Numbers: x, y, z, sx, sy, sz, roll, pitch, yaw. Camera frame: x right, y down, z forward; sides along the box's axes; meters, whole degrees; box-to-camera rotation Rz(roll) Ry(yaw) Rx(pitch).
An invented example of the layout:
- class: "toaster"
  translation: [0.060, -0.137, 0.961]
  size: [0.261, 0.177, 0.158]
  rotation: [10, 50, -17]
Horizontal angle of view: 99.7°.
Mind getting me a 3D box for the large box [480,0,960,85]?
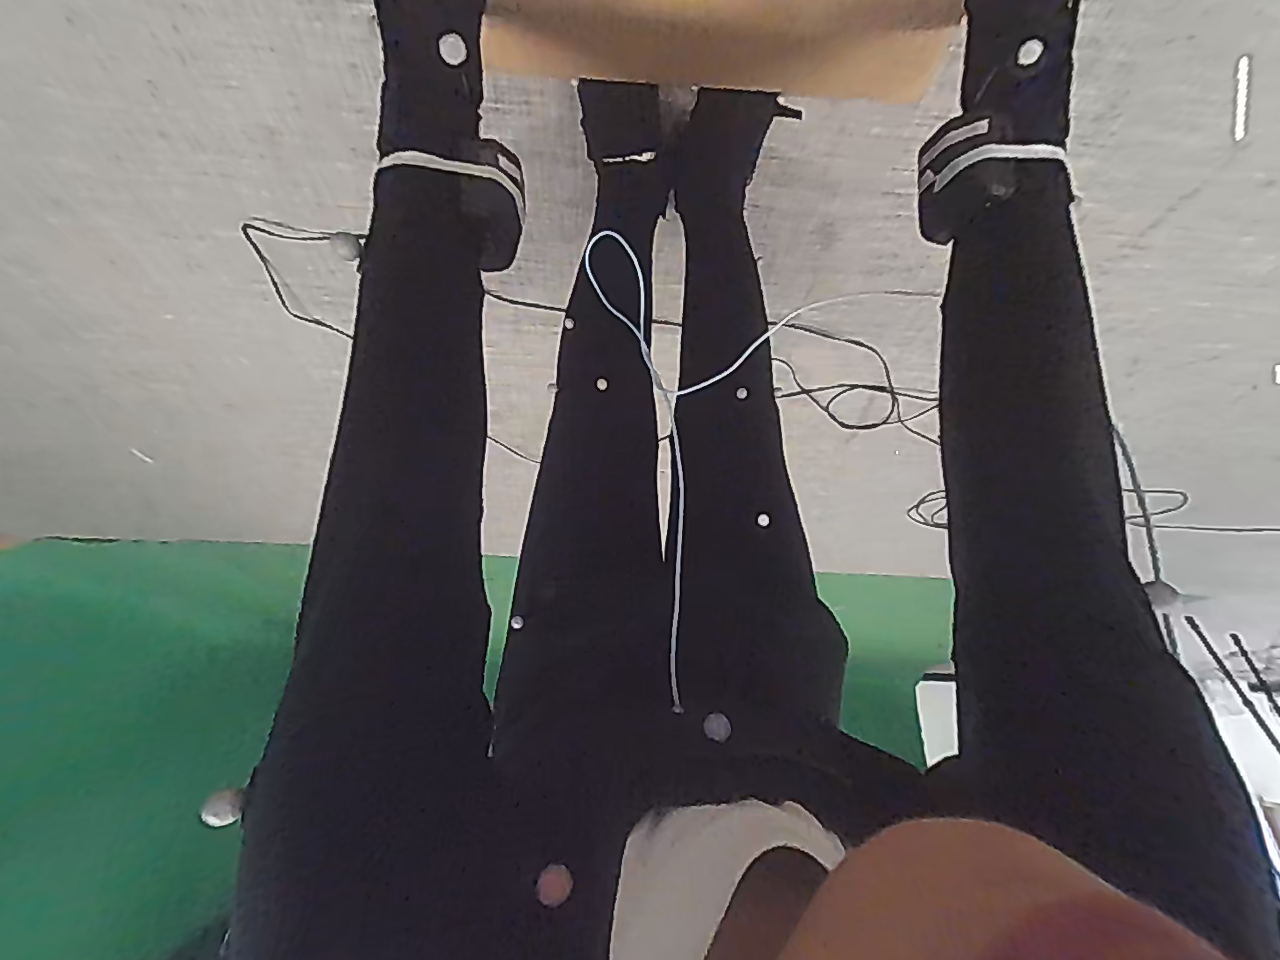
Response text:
- class: "large box"
  translation: [0.070, -0.572, 0.430]
  size: [0.408, 0.320, 0.320]
  rotation: [3, 153, -1]
